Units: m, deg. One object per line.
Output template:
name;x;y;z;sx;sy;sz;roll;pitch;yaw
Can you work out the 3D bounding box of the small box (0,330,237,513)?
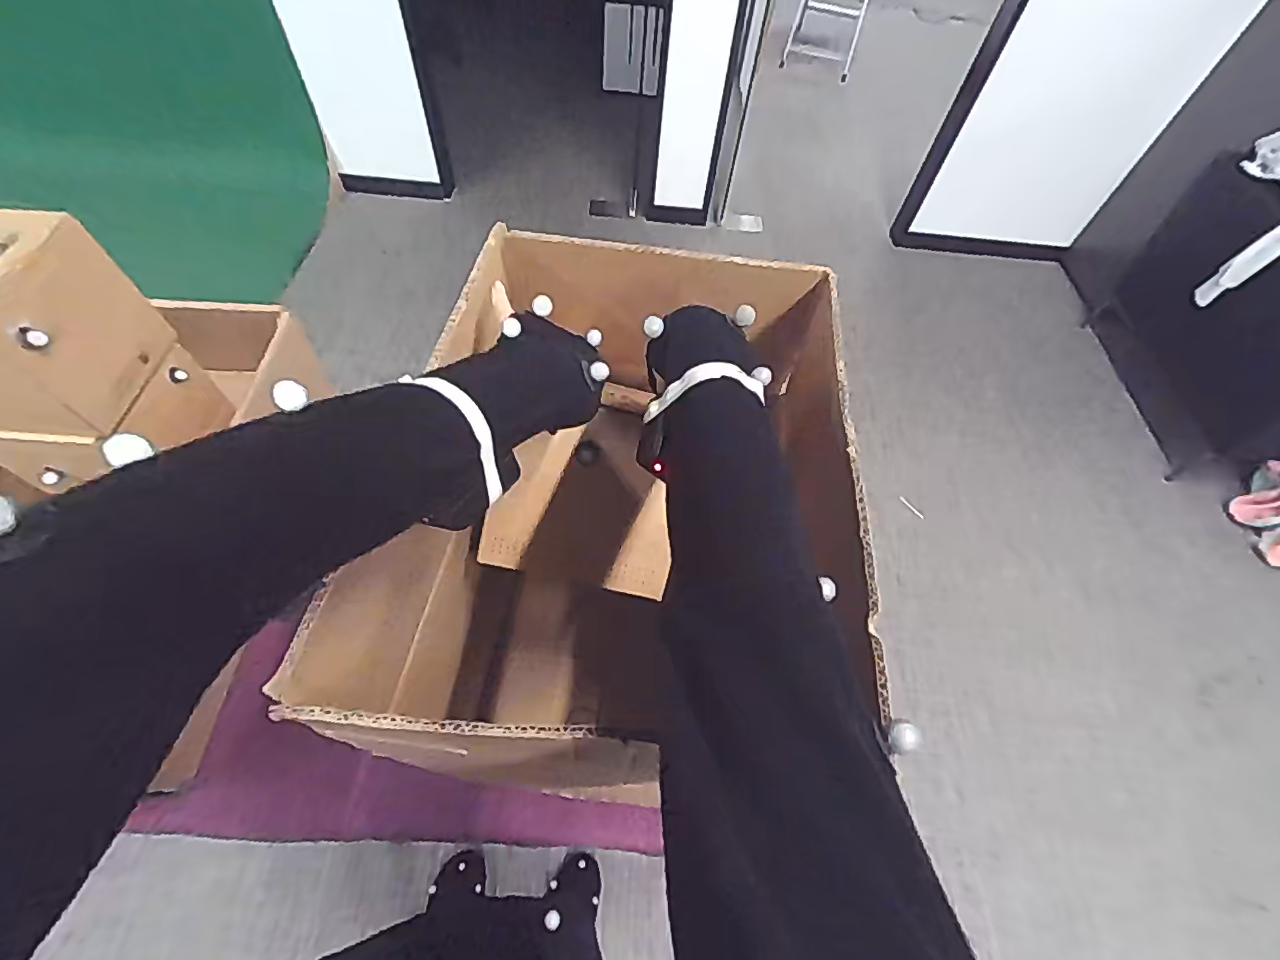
small box;-0.690;-0.071;0.718;0.168;0.176;0.179;5;57;-1
